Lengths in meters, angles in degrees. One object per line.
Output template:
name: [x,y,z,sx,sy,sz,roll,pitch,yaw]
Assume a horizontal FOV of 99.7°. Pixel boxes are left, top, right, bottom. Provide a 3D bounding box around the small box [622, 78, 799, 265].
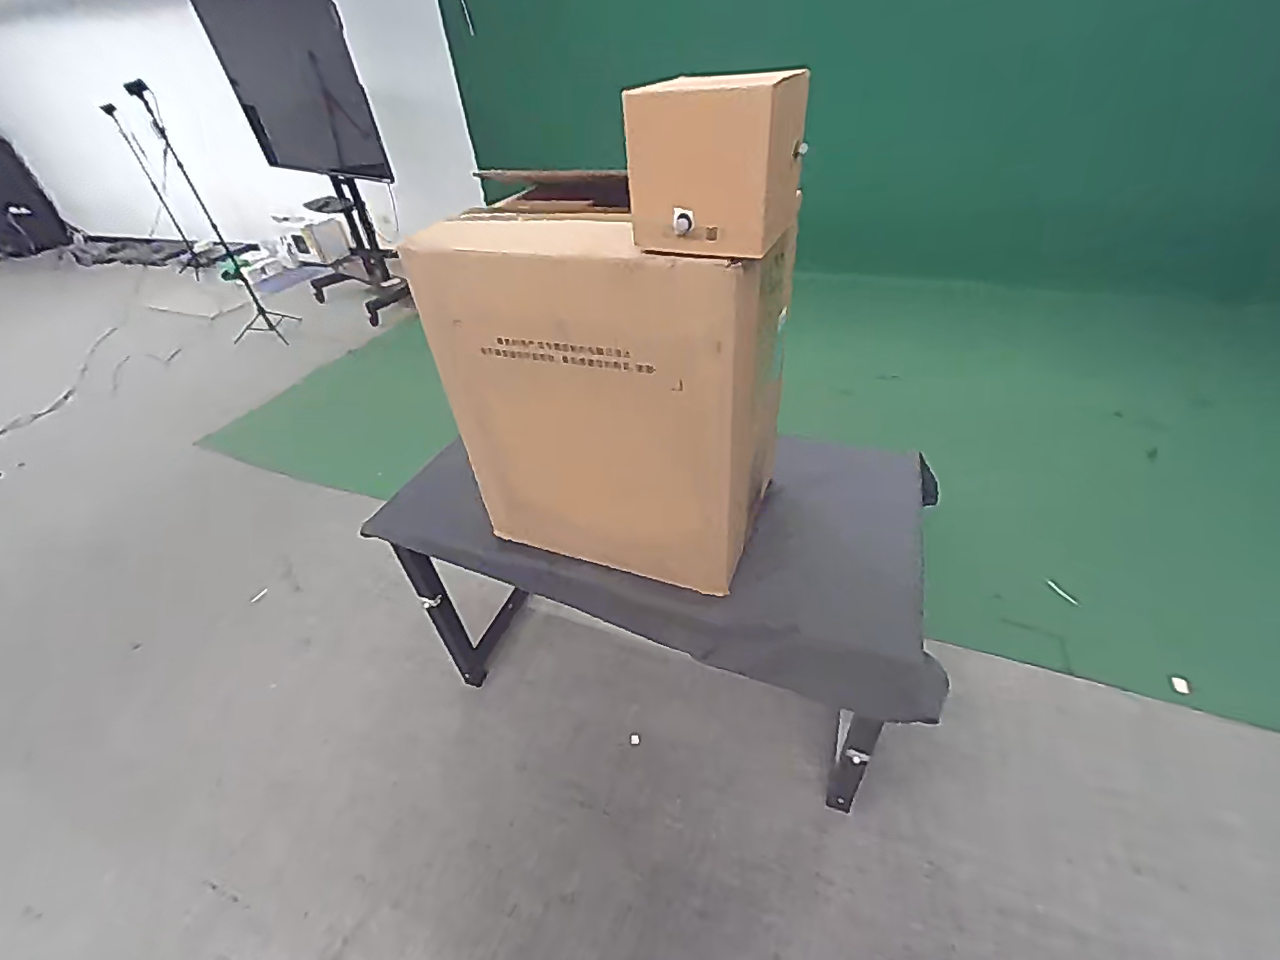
small box: [0.091,-0.383,0.669,0.168,0.176,0.179,11,43,20]
